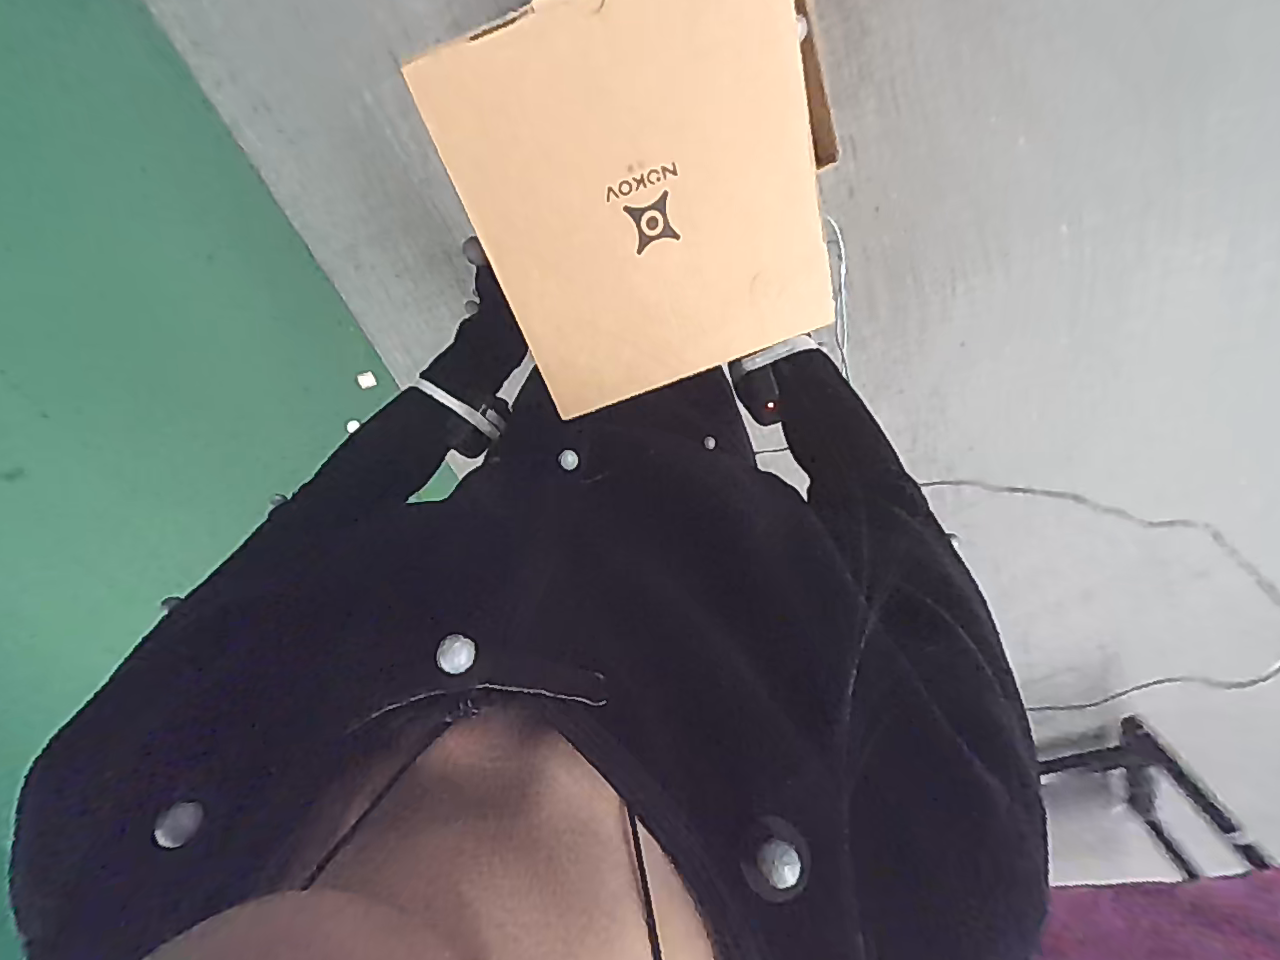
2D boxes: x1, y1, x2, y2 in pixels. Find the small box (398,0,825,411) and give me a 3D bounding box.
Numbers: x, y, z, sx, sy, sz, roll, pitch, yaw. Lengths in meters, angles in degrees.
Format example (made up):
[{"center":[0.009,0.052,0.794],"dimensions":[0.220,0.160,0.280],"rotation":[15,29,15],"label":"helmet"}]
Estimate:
[{"center":[-0.006,-0.173,0.327],"dimensions":[0.168,0.176,0.179],"rotation":[-18,122,5],"label":"small box"}]
